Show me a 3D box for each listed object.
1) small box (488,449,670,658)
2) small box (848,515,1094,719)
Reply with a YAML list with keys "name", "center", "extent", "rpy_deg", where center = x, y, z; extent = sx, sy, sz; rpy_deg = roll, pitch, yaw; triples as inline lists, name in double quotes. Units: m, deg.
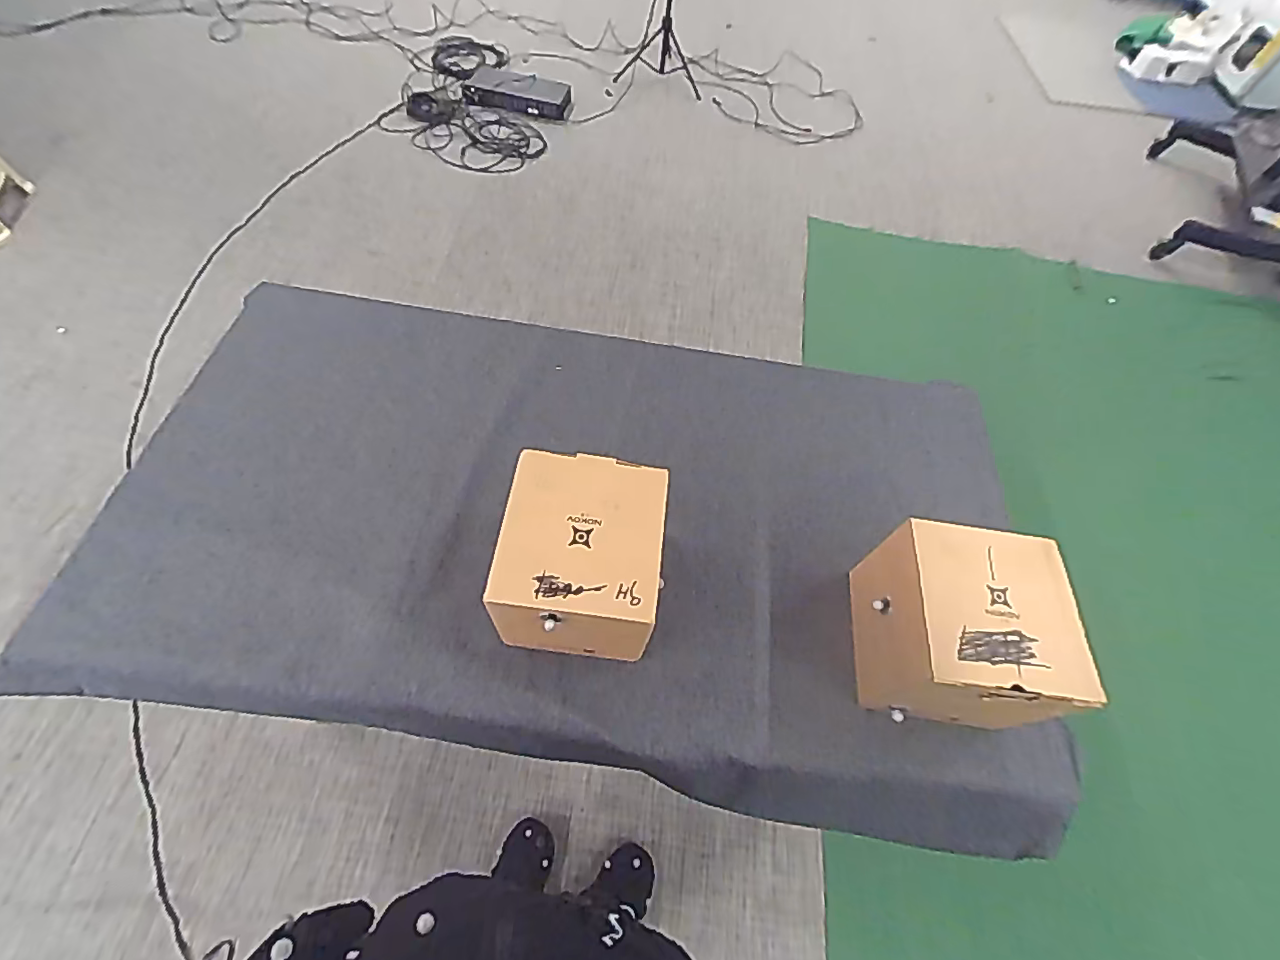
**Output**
- name: "small box"
  center: [-0.064, 0.090, 0.627]
  extent: [0.168, 0.176, 0.179]
  rpy_deg: [8, 59, -1]
- name: "small box"
  center: [0.356, 0.165, 0.625]
  extent: [0.168, 0.176, 0.179]
  rpy_deg: [9, 58, 0]
